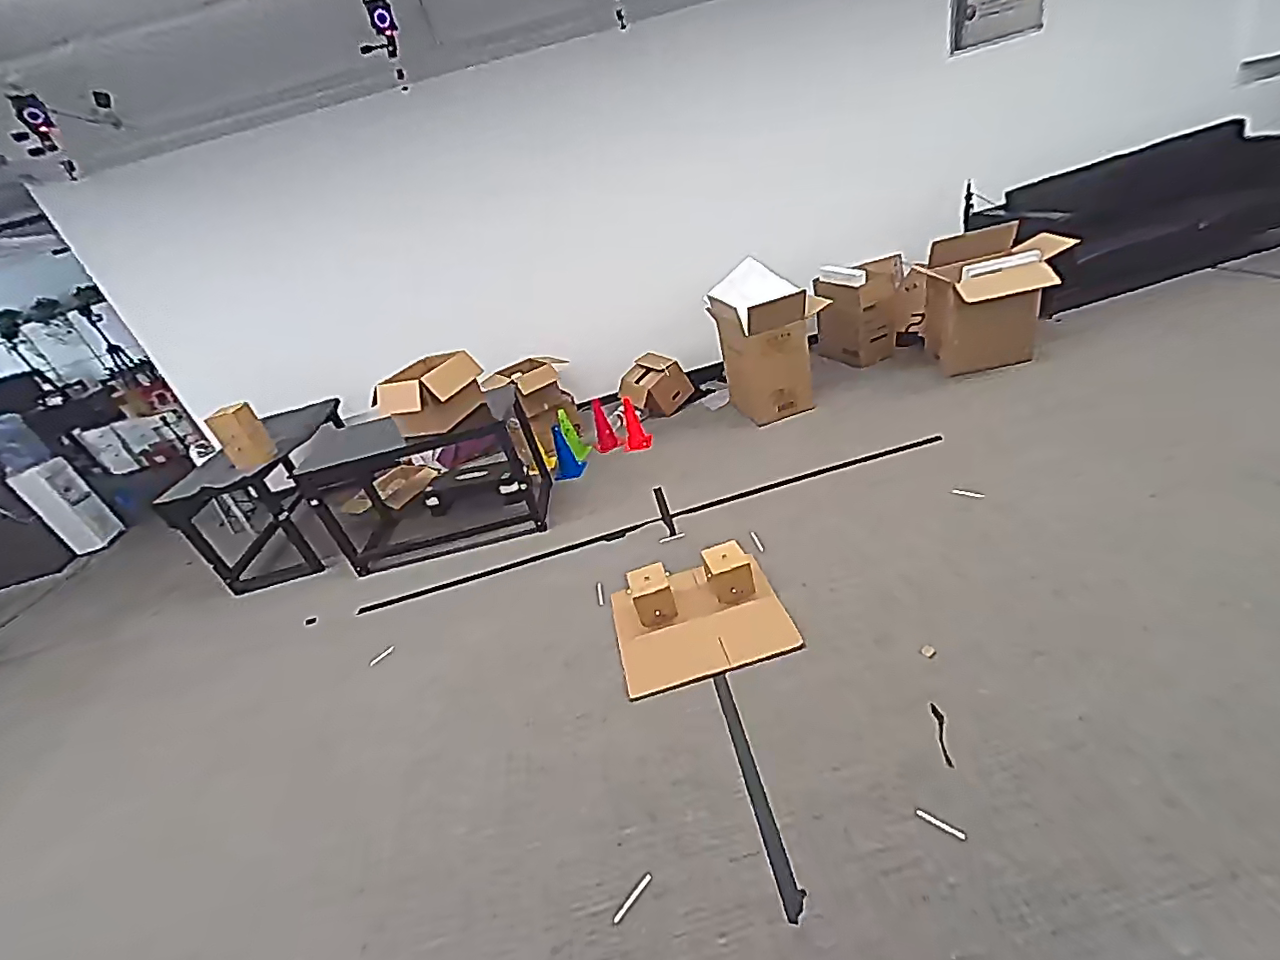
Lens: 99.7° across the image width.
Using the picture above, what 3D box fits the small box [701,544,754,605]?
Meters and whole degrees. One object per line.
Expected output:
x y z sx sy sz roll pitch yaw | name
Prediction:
0.383 0.414 2.363 0.168 0.176 0.179 -19 29 -5 | small box

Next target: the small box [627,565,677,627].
0.052 0.506 2.352 0.168 0.176 0.179 -18 29 -2 | small box
